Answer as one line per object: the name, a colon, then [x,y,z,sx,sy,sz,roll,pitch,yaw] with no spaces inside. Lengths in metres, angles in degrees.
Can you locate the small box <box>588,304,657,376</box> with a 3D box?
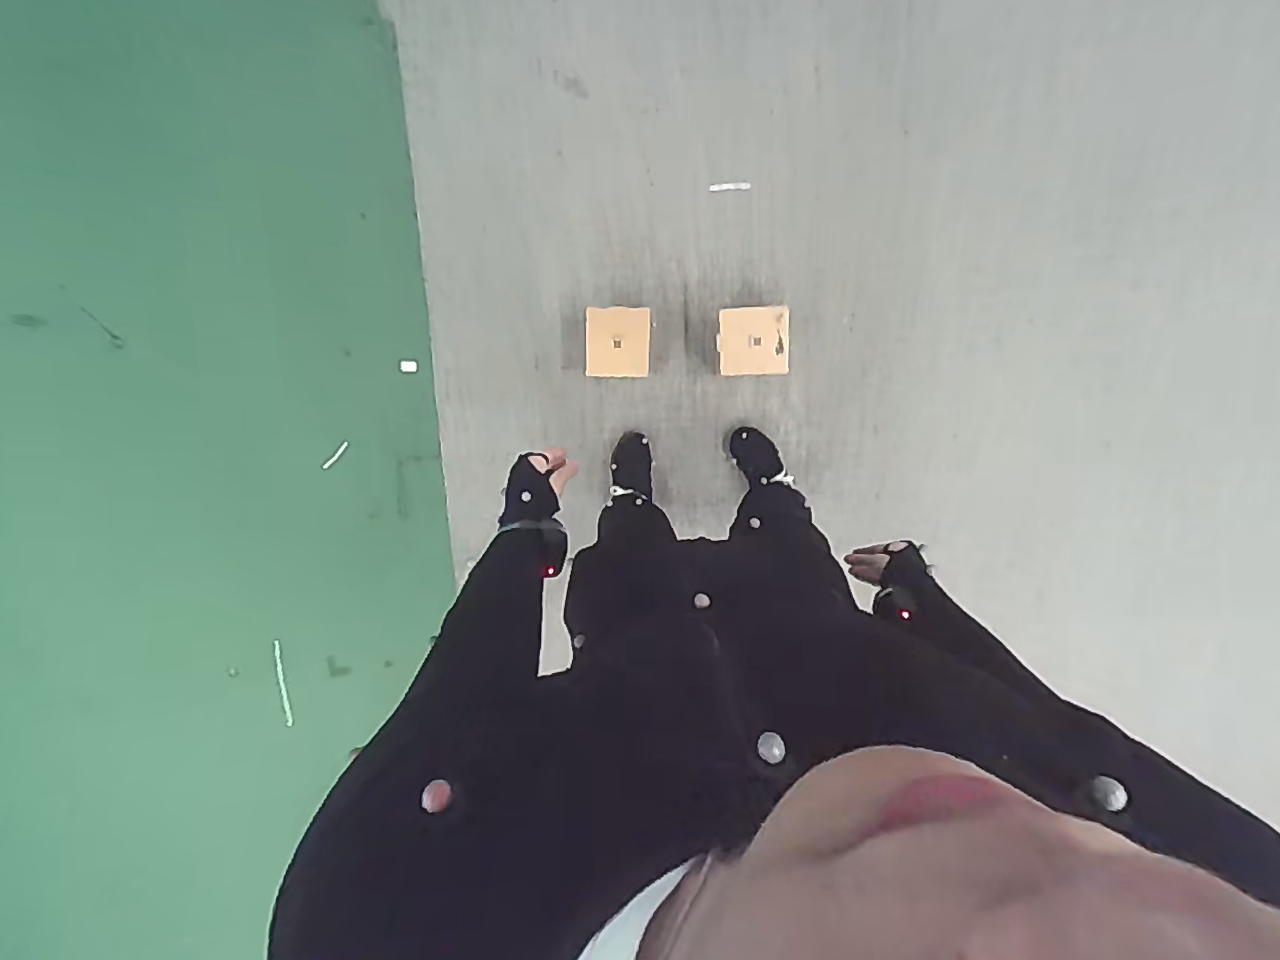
small box: [-0.043,-0.373,1.462,0.168,0.176,0.179,2,99,5]

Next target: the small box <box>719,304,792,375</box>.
small box: [0.298,-0.366,1.430,0.179,0.176,0.168,0,100,6]
